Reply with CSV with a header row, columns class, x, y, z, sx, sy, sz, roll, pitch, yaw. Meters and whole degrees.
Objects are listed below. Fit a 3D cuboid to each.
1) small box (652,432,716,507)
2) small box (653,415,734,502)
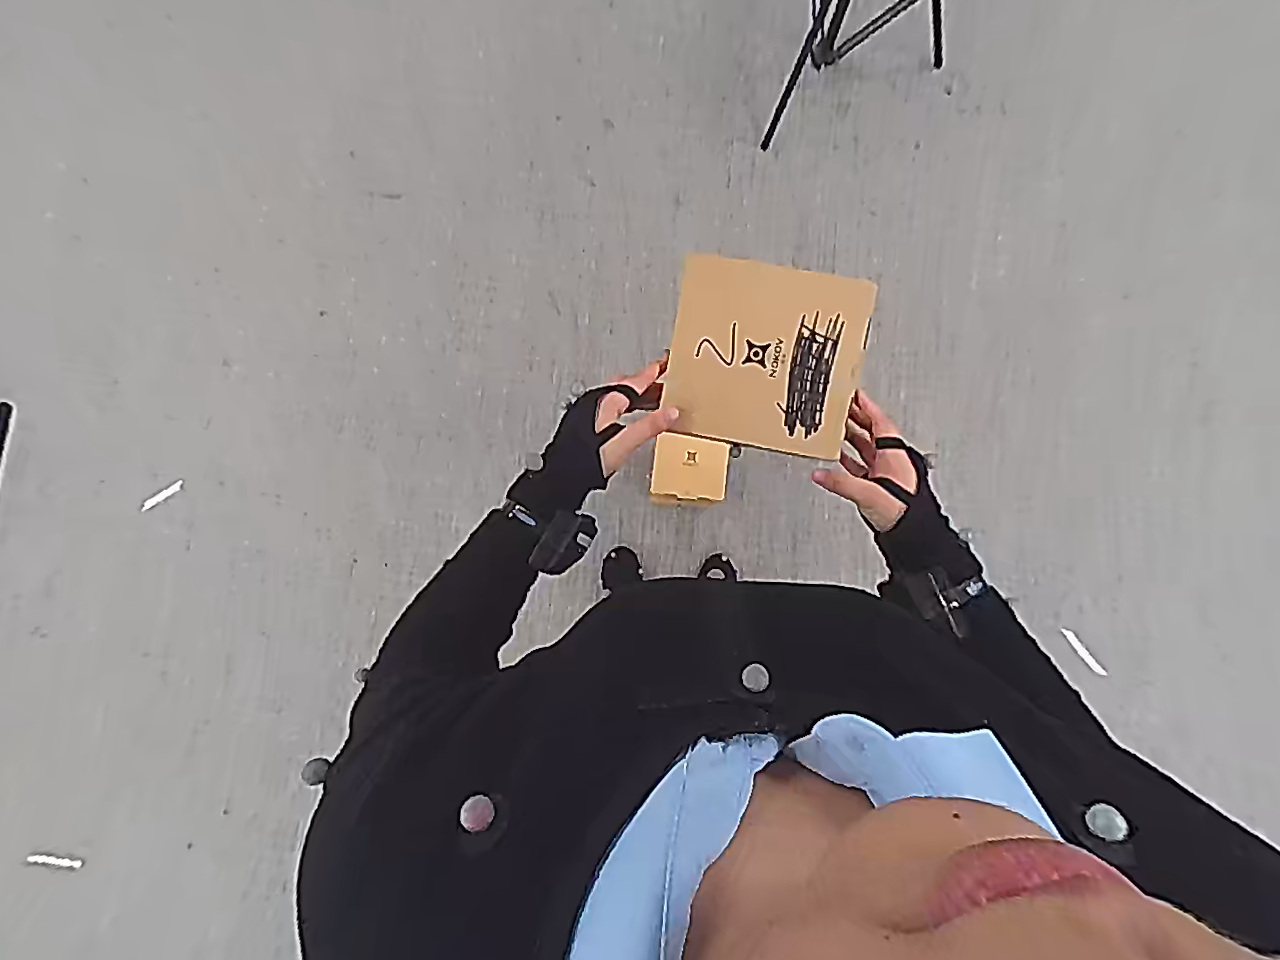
class,x,y,z,sx,sy,sz,roll,pitch,yaw
small box,0.120,-0.022,1.441,0.168,0.176,0.179,4,85,2
small box,0.120,-0.045,1.279,0.168,0.176,0.179,6,86,2
